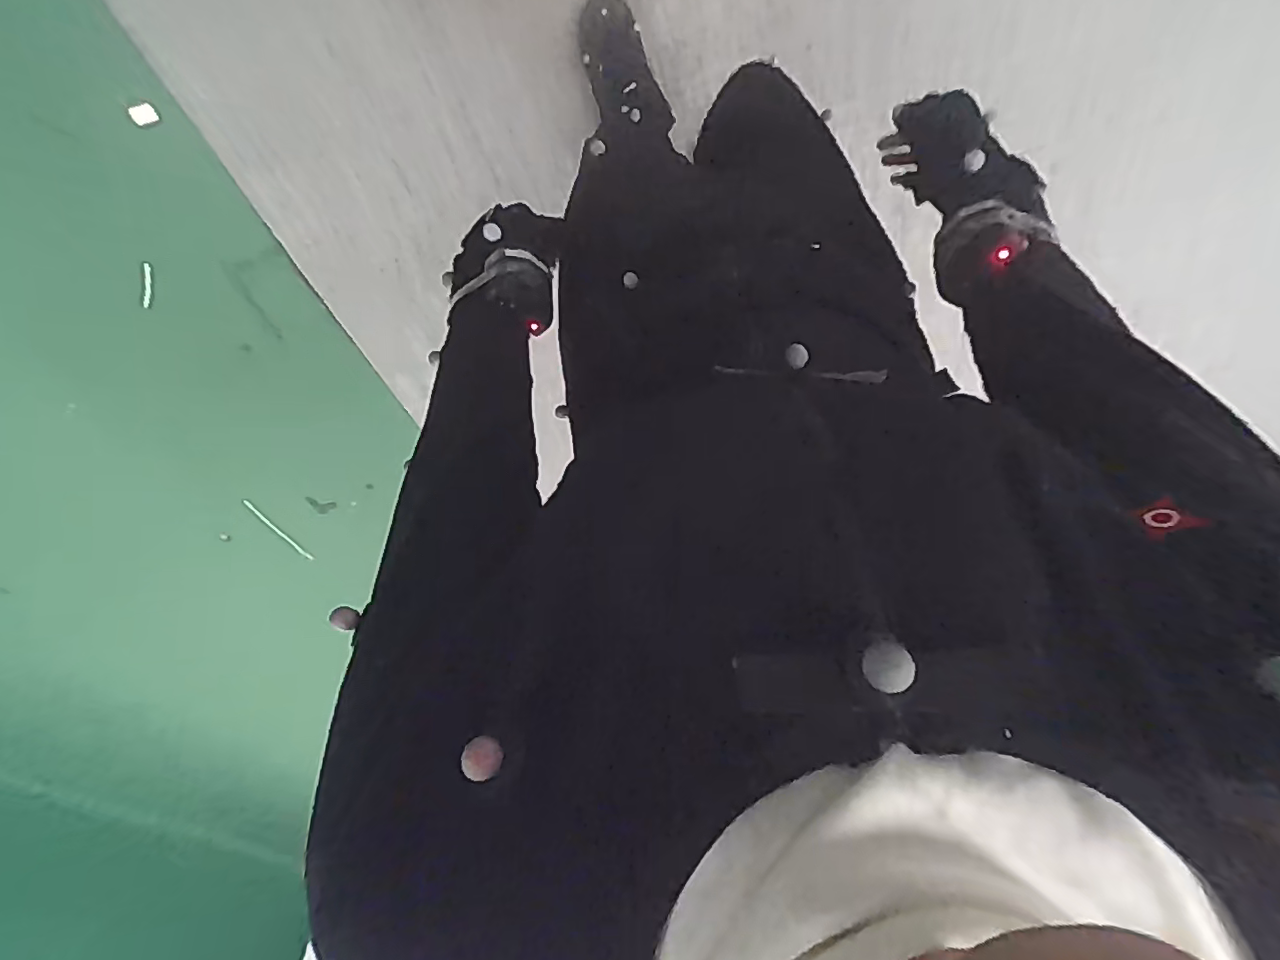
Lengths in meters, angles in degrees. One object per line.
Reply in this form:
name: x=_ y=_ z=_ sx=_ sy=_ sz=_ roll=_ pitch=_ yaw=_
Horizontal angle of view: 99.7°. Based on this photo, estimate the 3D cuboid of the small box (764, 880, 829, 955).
small box: x=0.522 y=1.461 z=1.811 sx=0.168 sy=0.176 sz=0.179 roll=-15 pitch=132 yaw=8
